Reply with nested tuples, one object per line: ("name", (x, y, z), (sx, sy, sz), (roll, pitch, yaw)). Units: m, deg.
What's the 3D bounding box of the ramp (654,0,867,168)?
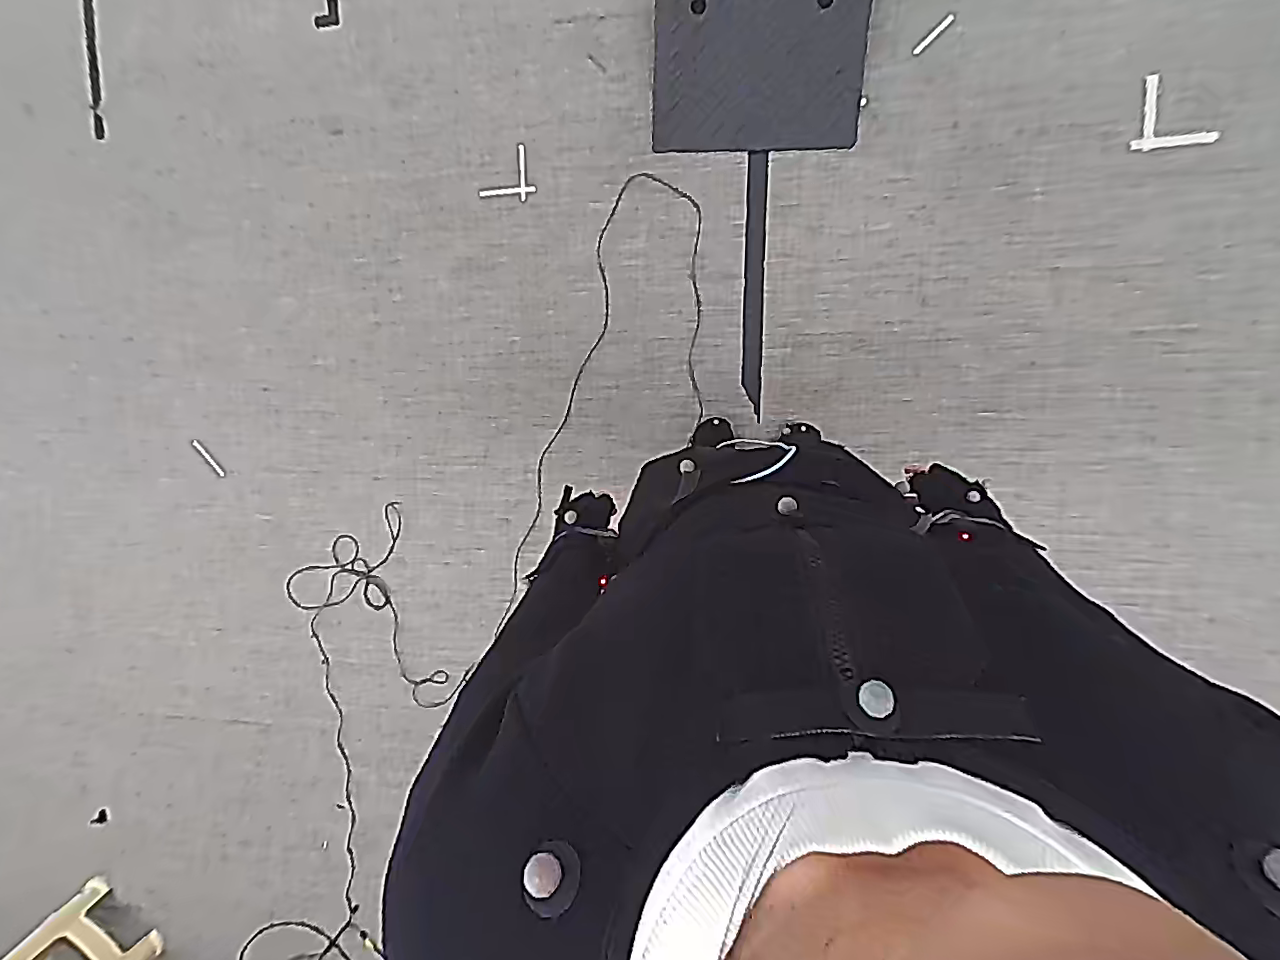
("ramp", (0.275, -1.272, 1.215), (0.509, 0.206, 0.991), (0, 96, 7))
